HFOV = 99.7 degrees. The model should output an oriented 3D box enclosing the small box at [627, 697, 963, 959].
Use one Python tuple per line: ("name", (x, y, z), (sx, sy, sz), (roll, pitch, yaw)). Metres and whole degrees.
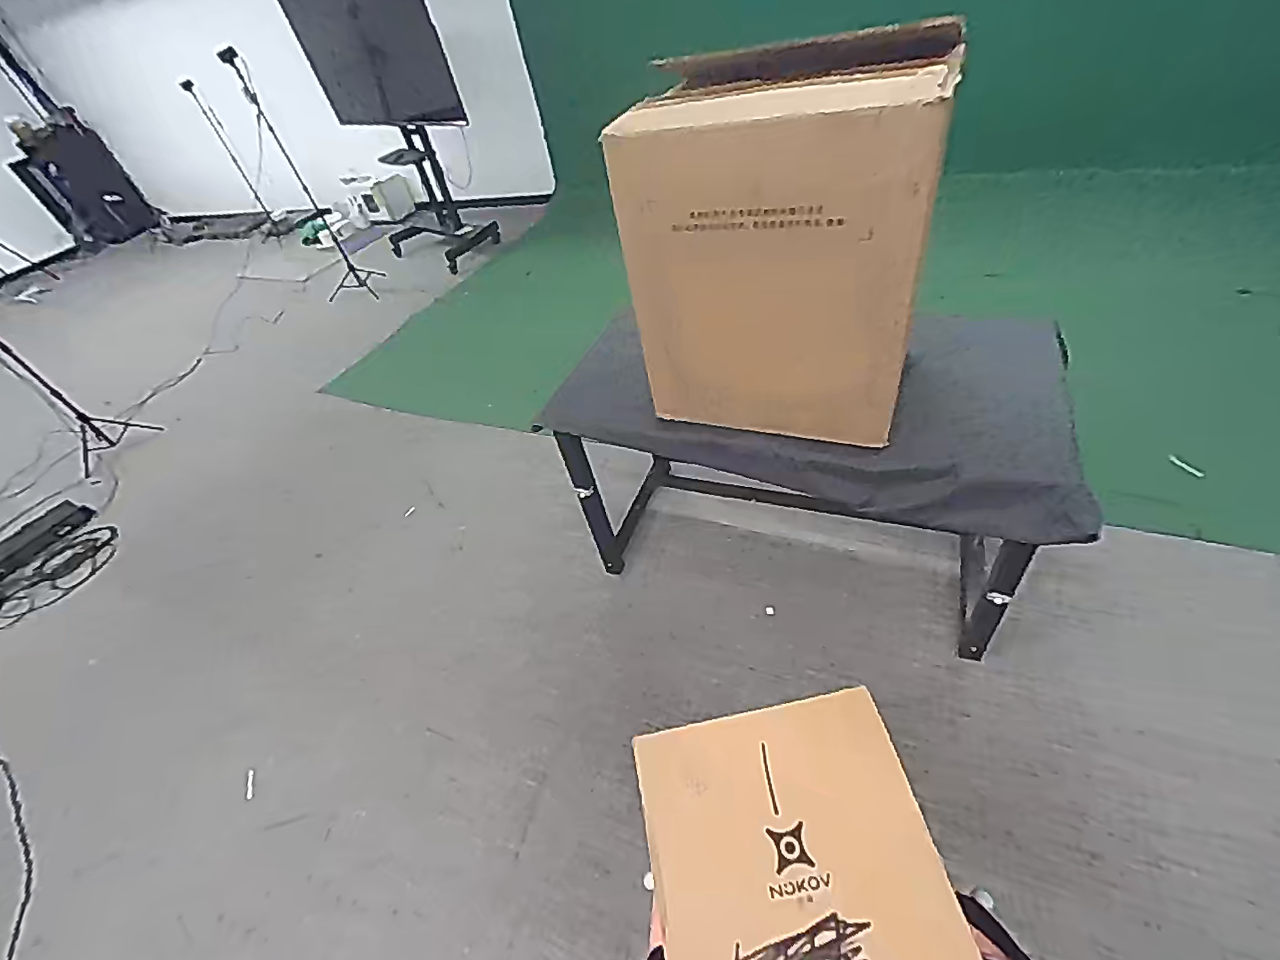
("small box", (0.096, 0.276, 0.380), (0.168, 0.176, 0.179), (-13, 53, 1))
